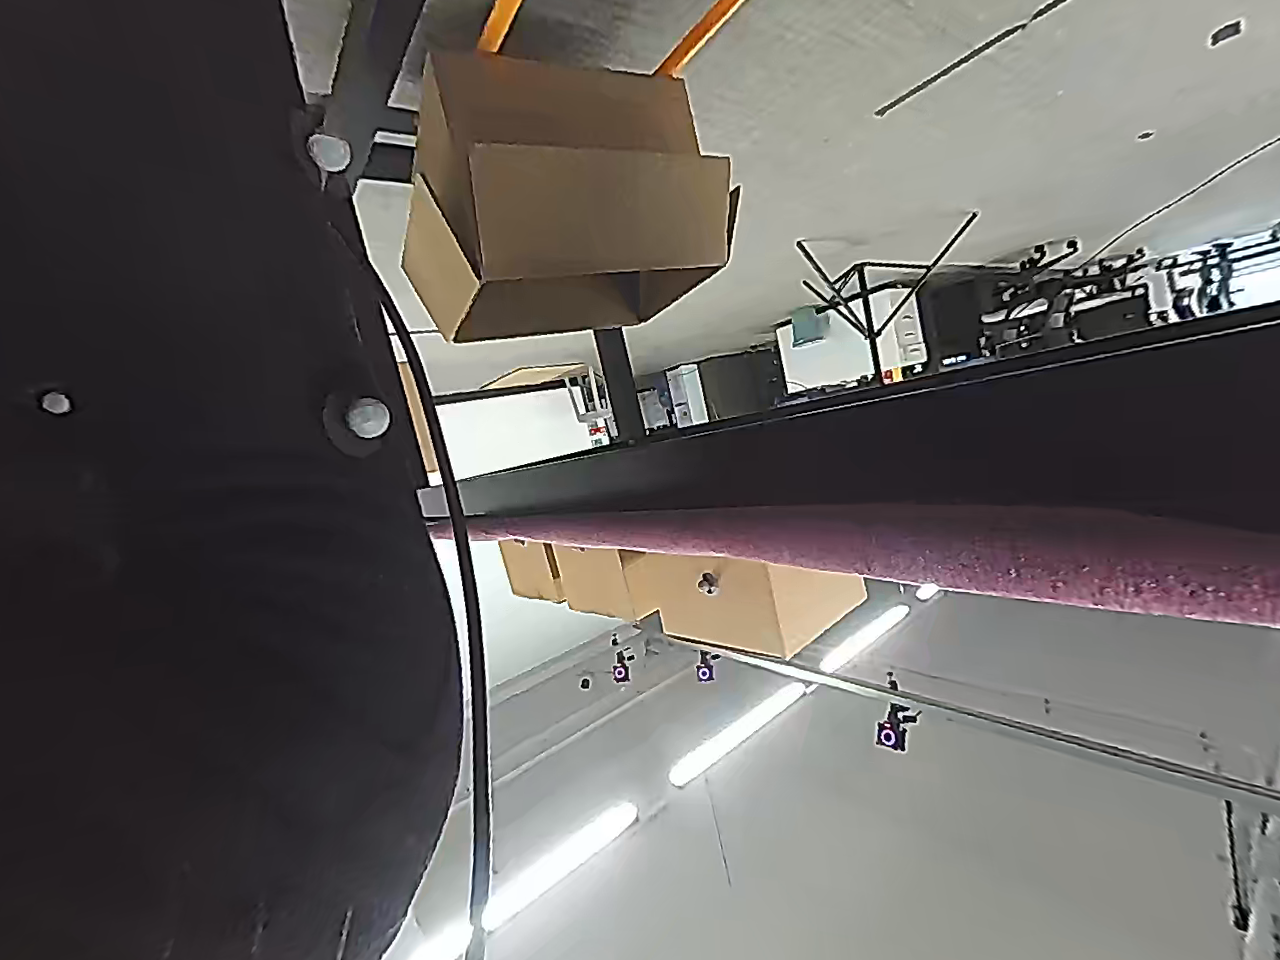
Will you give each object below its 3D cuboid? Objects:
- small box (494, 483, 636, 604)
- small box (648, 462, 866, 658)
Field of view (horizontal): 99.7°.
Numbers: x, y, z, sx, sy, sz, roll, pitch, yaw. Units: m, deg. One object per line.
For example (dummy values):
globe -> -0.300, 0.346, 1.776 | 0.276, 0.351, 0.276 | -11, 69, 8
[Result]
small box -> -0.138, 0.108, 0.987 | 0.179, 0.176, 0.168 | -18, -173, -40
small box -> 0.127, 0.079, 0.619 | 0.168, 0.176, 0.179 | -17, -175, -40
